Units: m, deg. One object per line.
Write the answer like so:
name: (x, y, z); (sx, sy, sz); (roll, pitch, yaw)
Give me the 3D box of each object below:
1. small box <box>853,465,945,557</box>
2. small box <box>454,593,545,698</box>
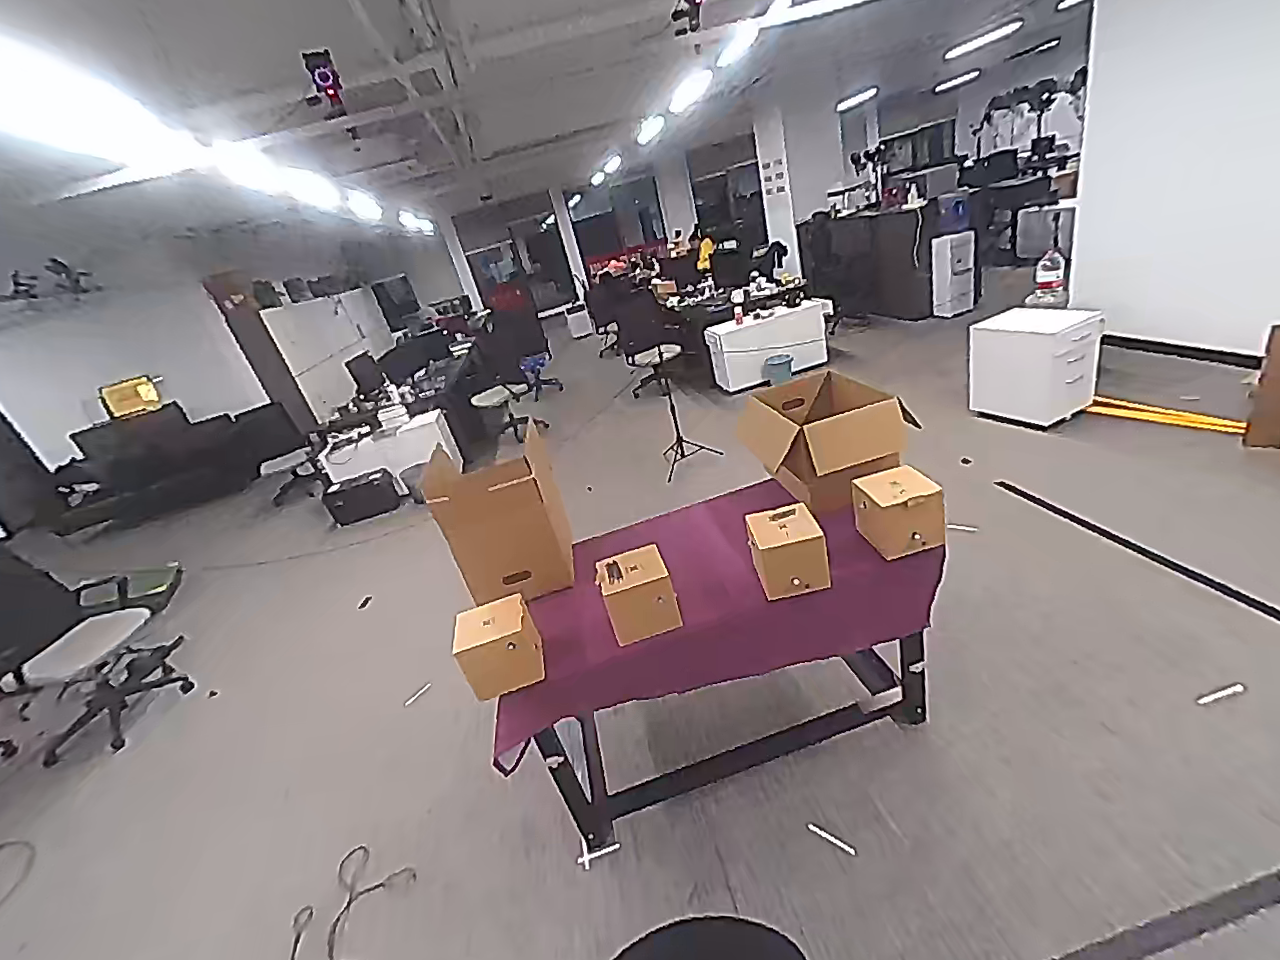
small box: (0.704, 0.085, 1.476); (0.168, 0.176, 0.179); (-17, 24, 1)
small box: (-0.358, 0.428, 1.396); (0.179, 0.176, 0.168); (-18, 25, -7)
